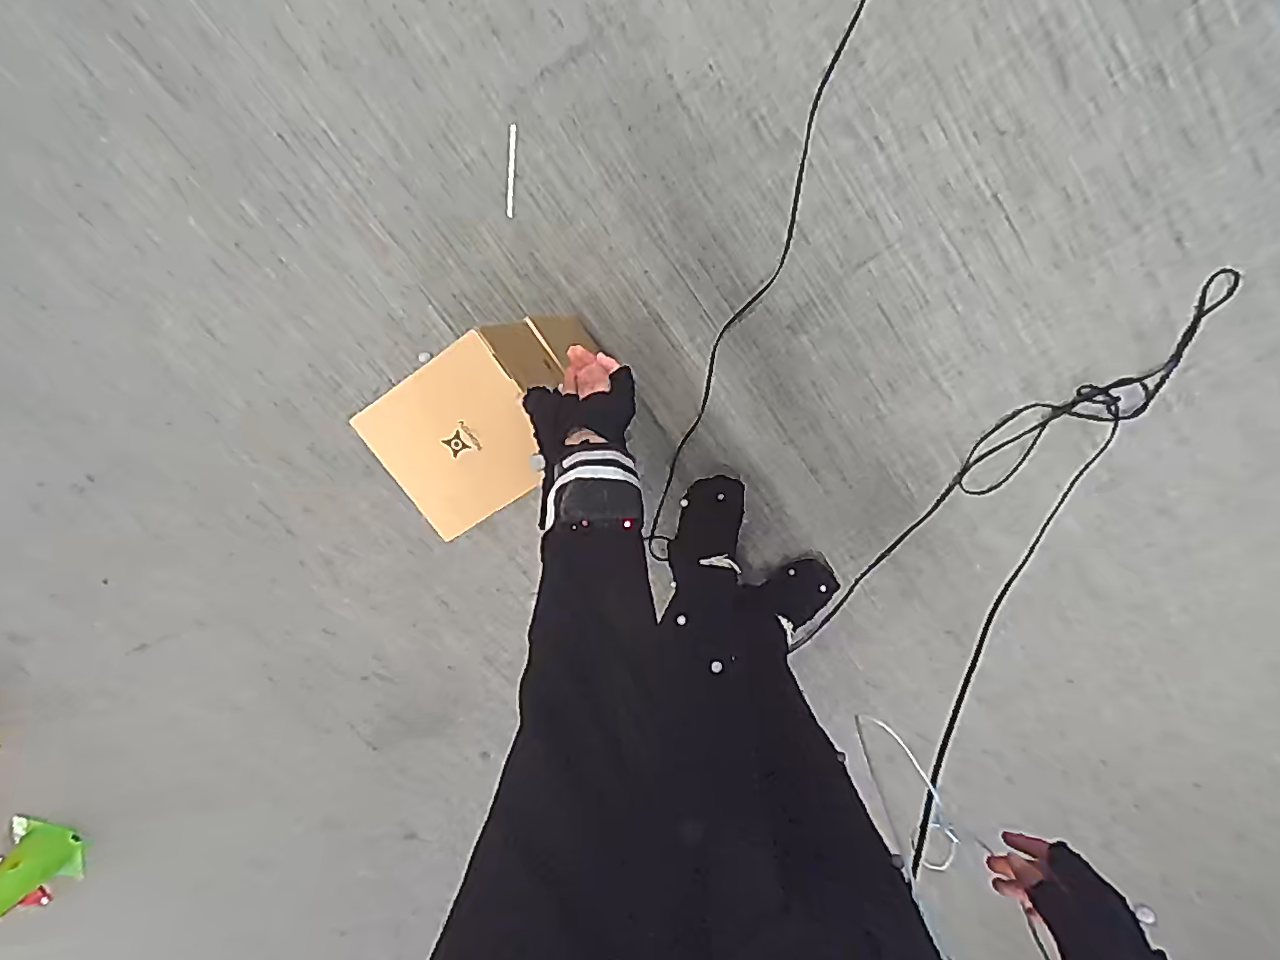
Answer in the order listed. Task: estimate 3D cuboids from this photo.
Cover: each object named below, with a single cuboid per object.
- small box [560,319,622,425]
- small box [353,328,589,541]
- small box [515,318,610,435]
[{"bbox_3d":[-0.146,-0.165,0.945,0.168,0.176,0.179,-32,104,13],"label":"small box"},{"bbox_3d":[-0.180,-0.062,0.637,0.179,0.176,0.168,-31,103,13],"label":"small box"},{"bbox_3d":[-0.161,-0.118,0.788,0.179,0.176,0.168,-31,103,13],"label":"small box"}]
